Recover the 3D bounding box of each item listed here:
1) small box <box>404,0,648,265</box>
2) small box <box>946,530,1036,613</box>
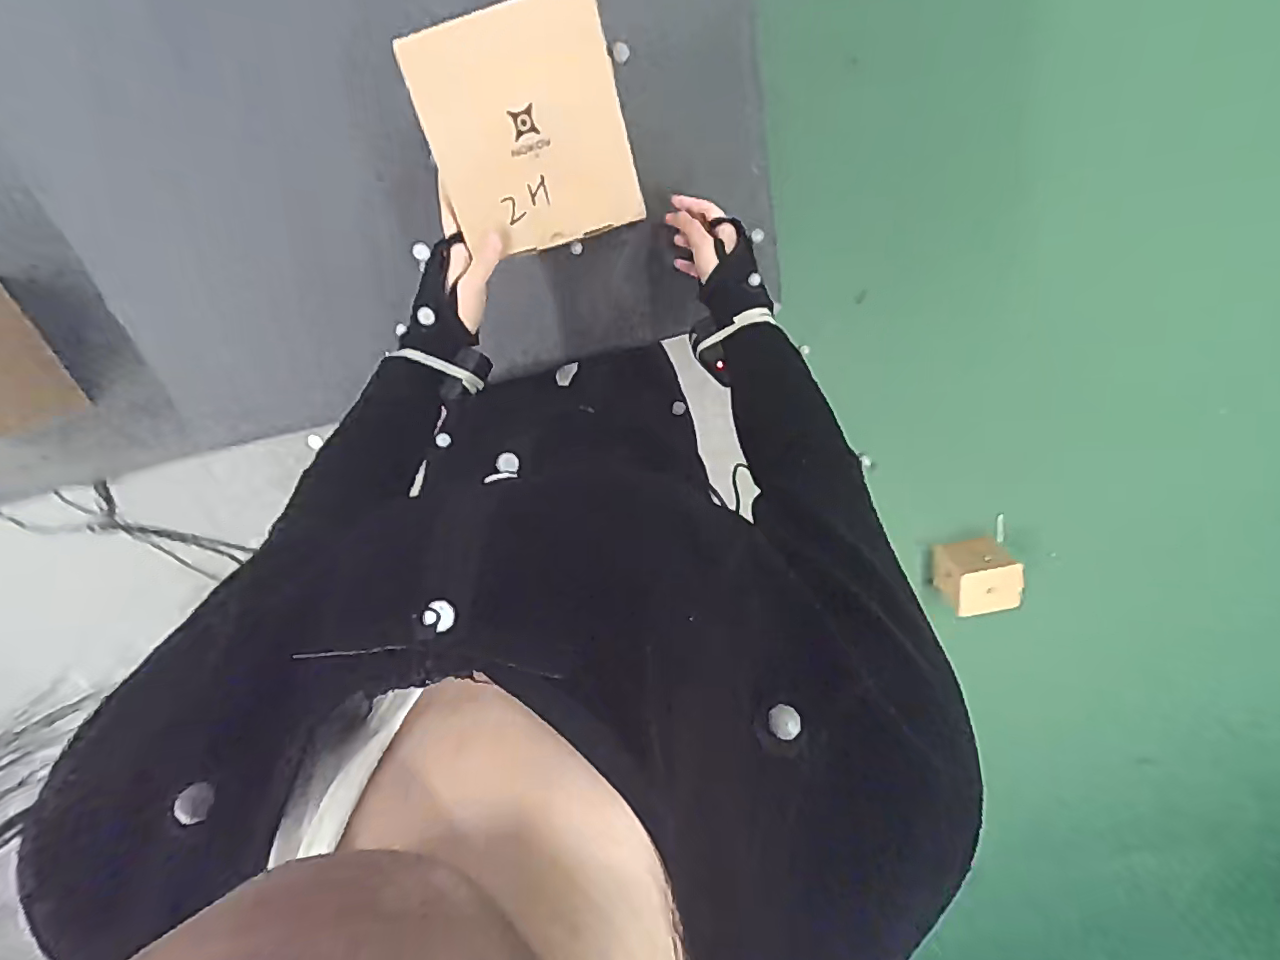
[{"bbox_3d":[-0.093,-0.328,0.534,0.168,0.176,0.179,-13,115,8],"label":"small box"},{"bbox_3d":[1.064,0.275,1.655,0.179,0.176,0.168,-14,116,6],"label":"small box"}]
